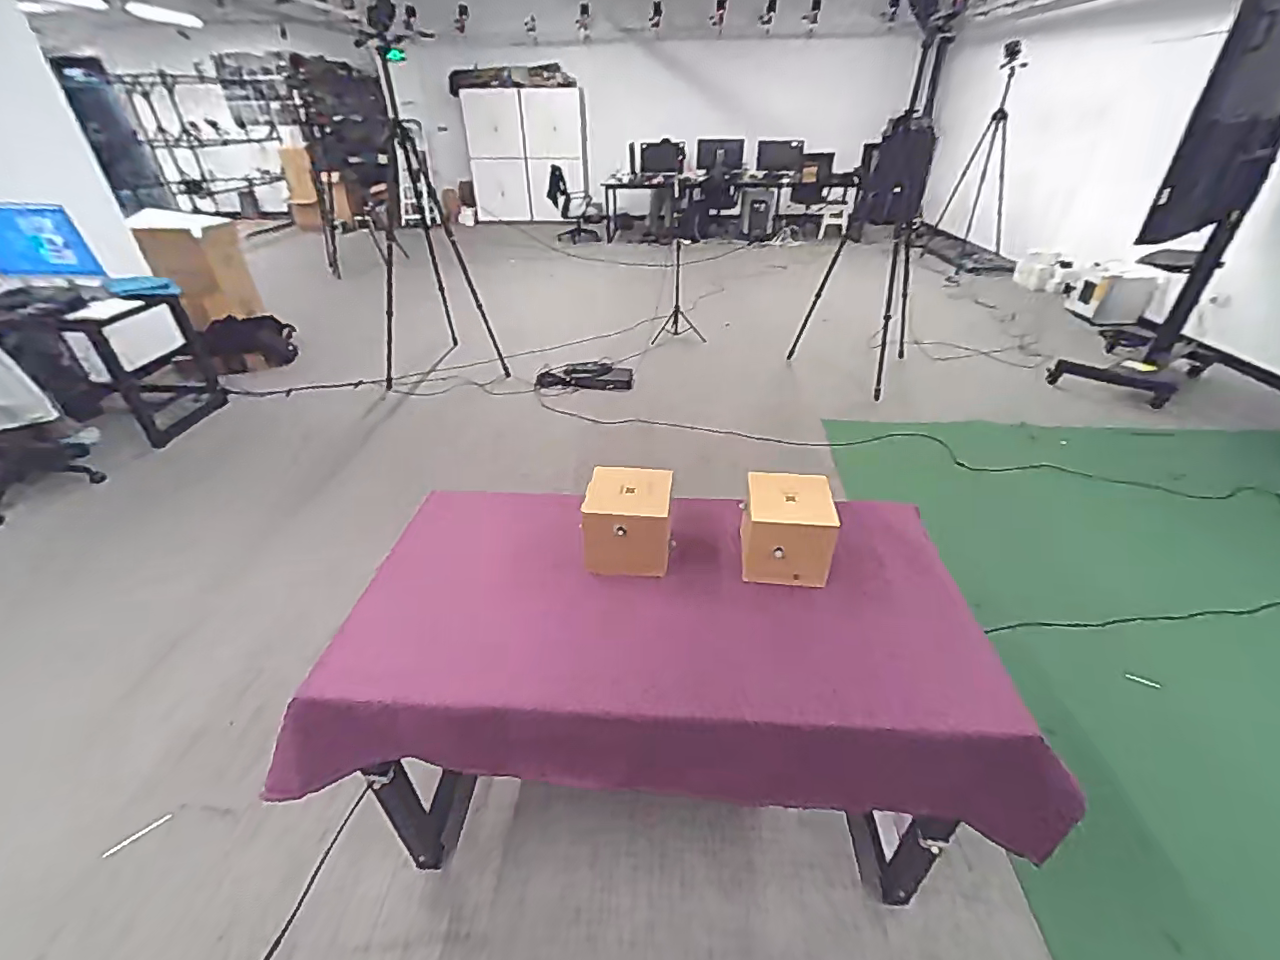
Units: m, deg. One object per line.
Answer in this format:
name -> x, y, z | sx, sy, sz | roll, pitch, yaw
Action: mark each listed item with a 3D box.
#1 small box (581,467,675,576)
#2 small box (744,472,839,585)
small box -> -0.019, 0.089, 1.161 | 0.179, 0.176, 0.168 | 4, 35, 6
small box -> 0.308, 0.100, 1.131 | 0.168, 0.176, 0.179 | 3, 34, 7
